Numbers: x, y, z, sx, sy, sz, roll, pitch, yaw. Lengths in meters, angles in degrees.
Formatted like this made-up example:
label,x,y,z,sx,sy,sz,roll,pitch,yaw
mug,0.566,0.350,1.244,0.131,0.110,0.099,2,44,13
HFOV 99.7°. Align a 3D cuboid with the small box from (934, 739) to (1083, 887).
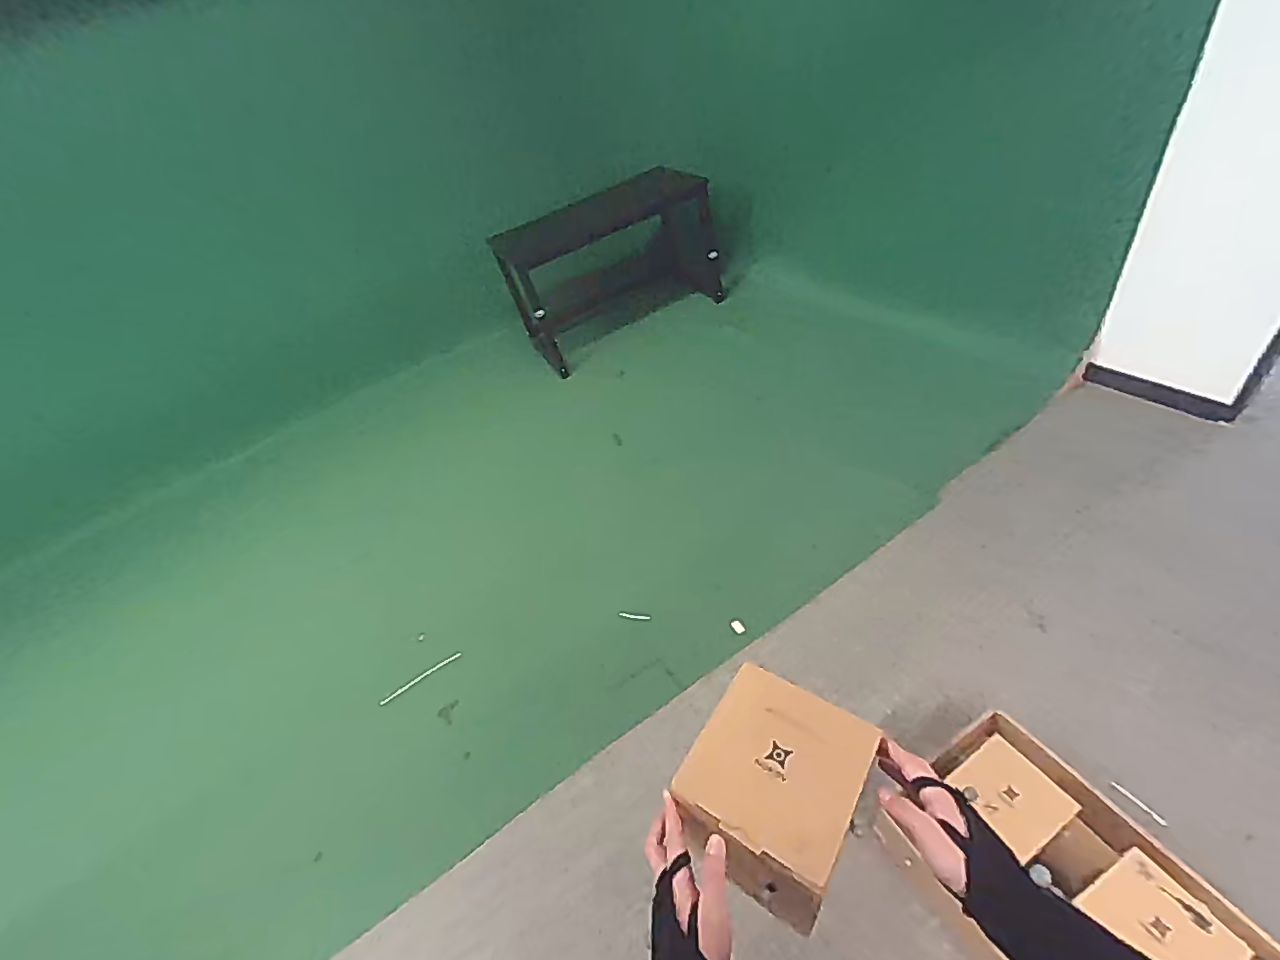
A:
label,x,y,z,sx,sy,sz,roll,pitch,yaw
small box,0.717,0.662,1.077,0.179,0.176,0.168,-30,43,-13
